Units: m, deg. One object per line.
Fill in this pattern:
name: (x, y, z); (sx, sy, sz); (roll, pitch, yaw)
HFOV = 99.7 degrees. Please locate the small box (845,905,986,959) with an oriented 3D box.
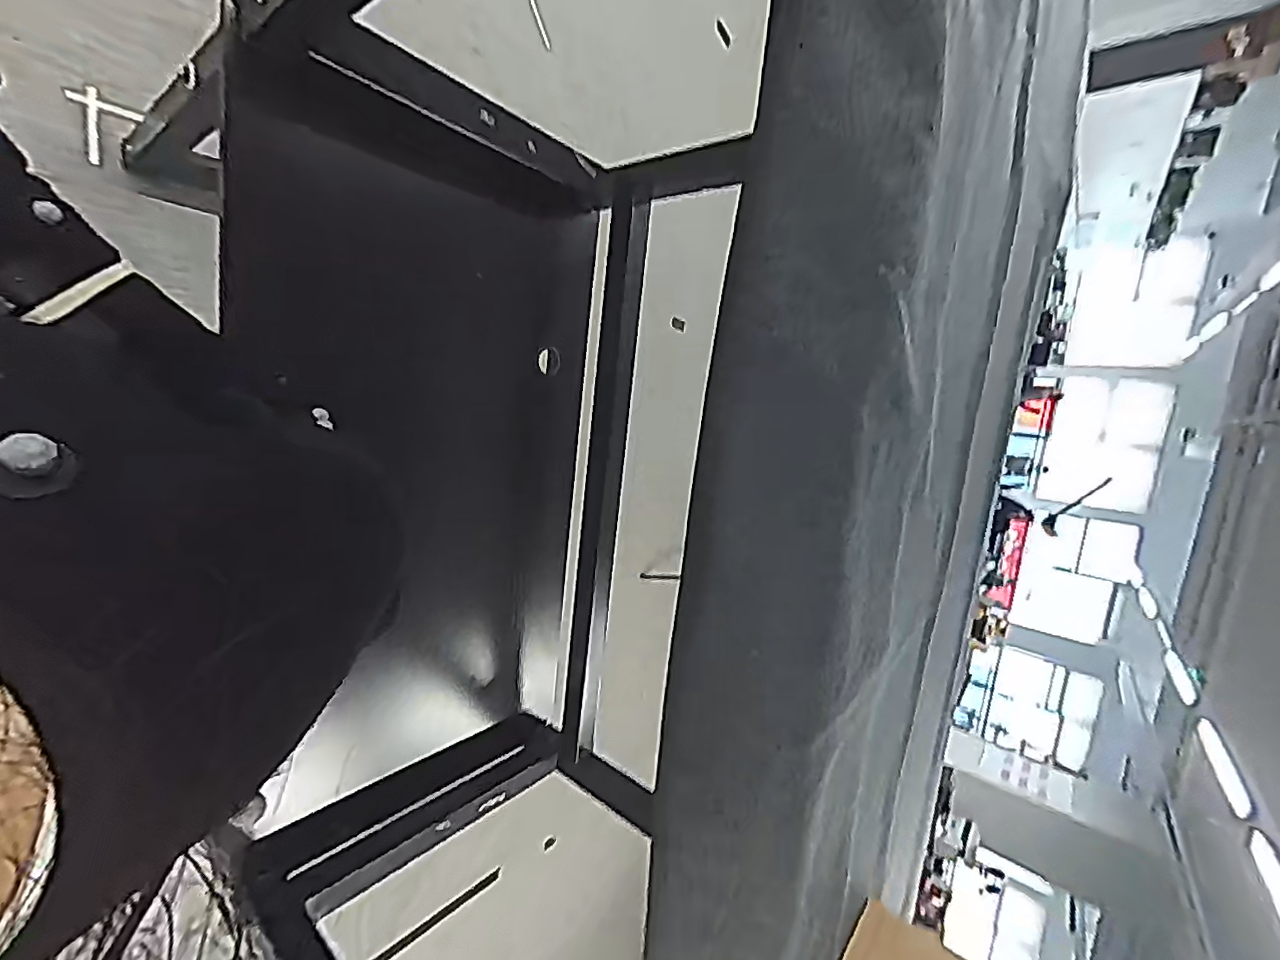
small box: (0.190, 0.417, 0.317); (0.179, 0.176, 0.168); (3, 97, -54)
